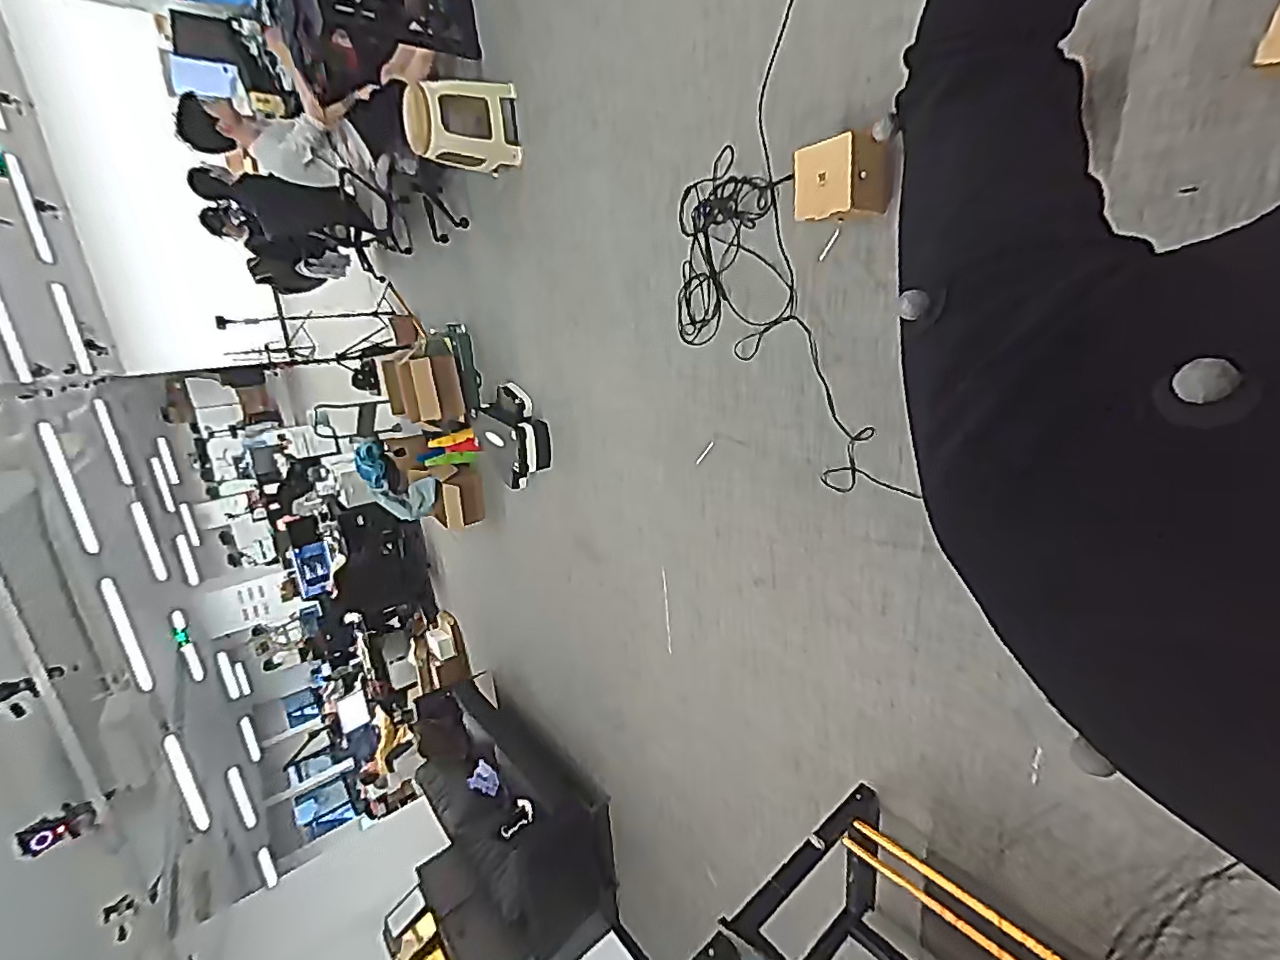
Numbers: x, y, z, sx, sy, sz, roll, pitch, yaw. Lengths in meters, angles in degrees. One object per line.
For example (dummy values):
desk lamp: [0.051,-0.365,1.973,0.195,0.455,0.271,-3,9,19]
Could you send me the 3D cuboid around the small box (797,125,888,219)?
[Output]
small box: [0.533,-0.799,1.421,0.168,0.176,0.179,14,116,50]
